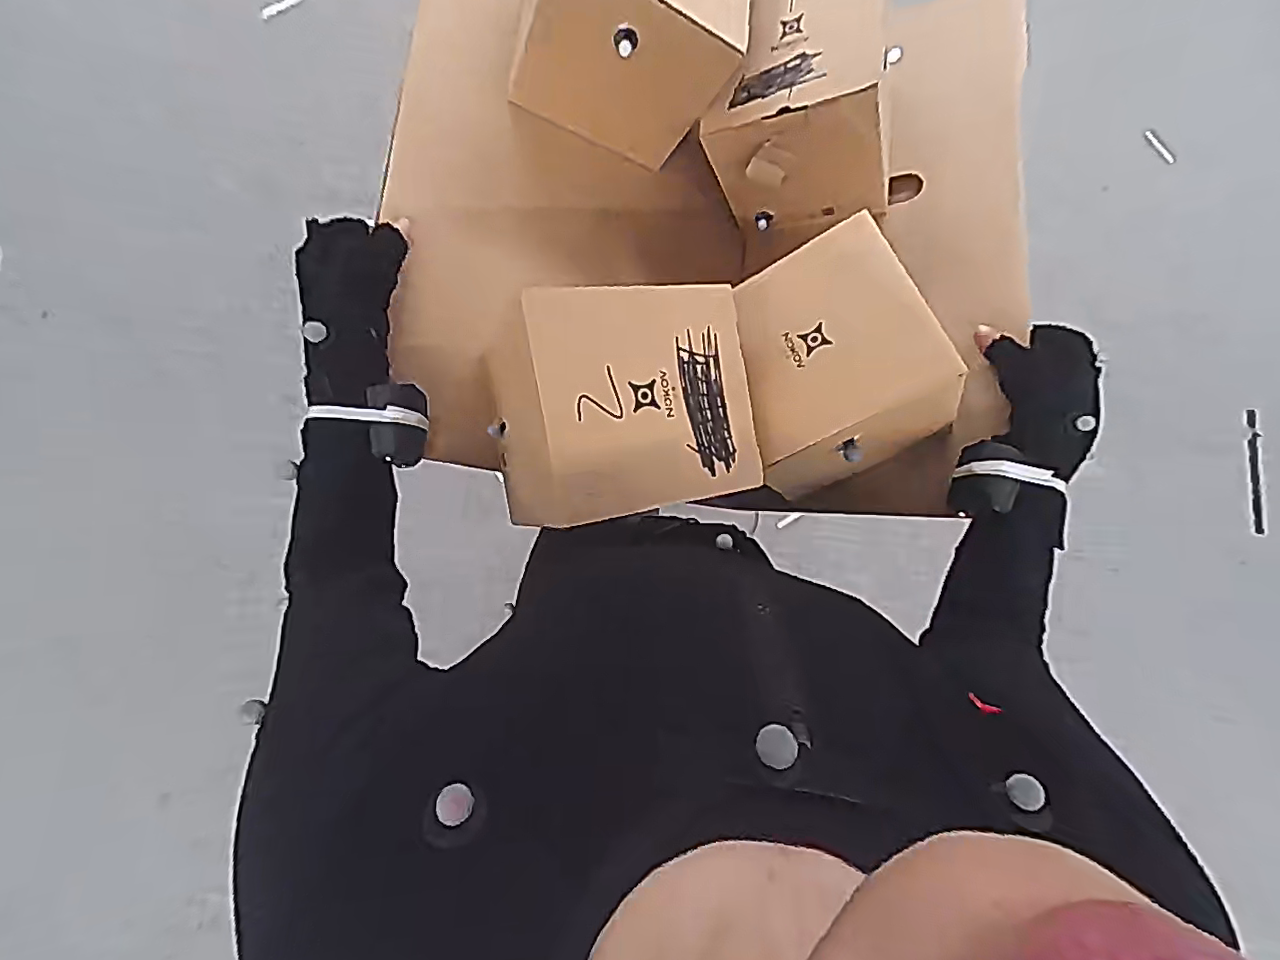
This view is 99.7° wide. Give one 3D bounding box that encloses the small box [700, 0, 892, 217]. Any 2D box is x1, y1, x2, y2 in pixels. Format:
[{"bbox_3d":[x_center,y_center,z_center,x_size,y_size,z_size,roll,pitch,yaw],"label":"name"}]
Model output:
[{"bbox_3d":[0.178,-0.414,0.588,0.168,0.176,0.179,3,78,27],"label":"small box"}]
